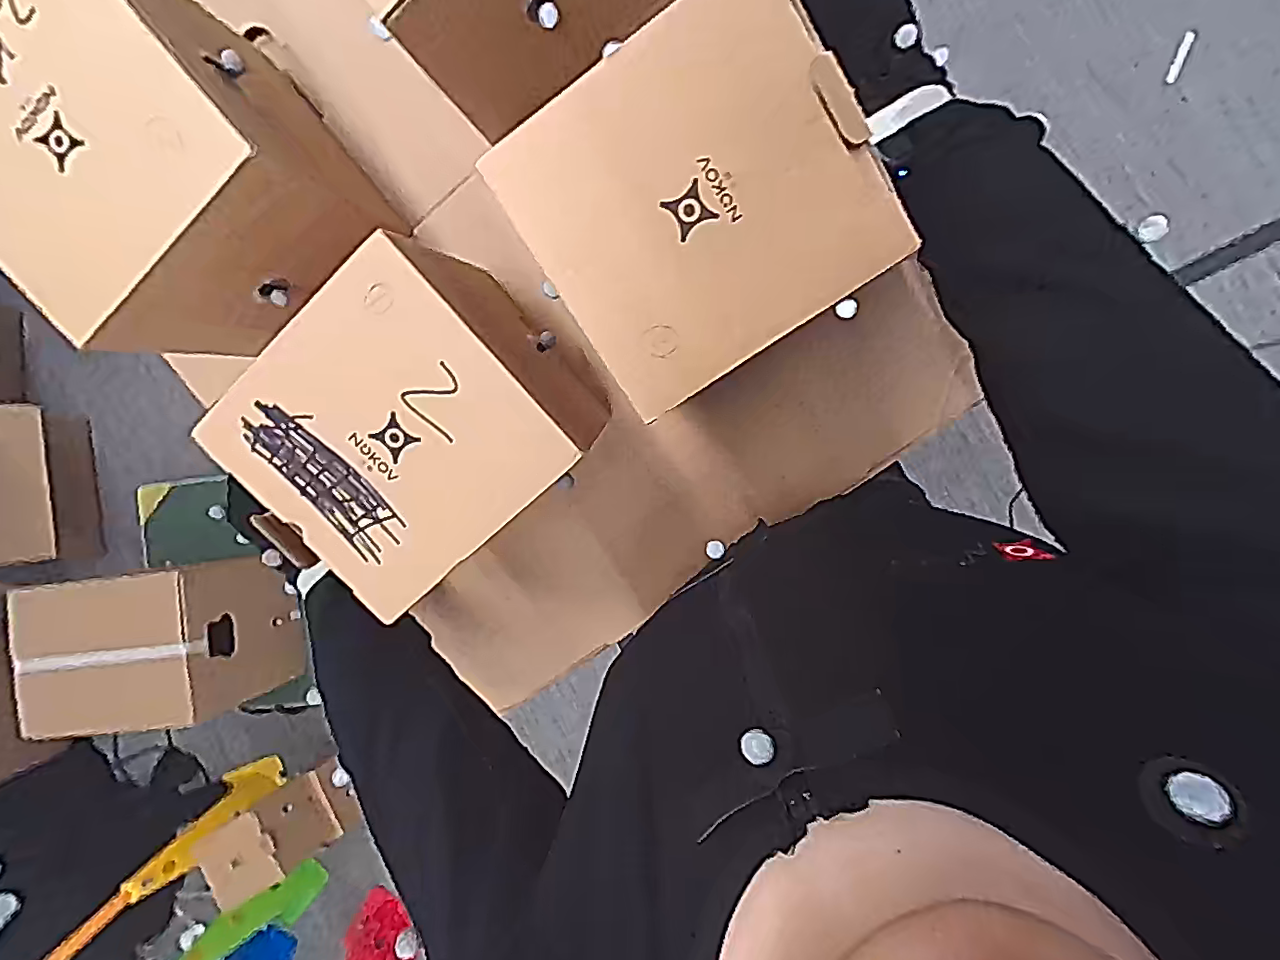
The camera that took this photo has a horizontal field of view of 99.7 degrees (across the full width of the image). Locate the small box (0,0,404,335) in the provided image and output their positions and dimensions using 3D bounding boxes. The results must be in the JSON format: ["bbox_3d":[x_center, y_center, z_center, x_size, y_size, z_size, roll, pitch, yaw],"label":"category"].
[{"bbox_3d":[-0.309,-0.219,0.379,0.168,0.176,0.179,-36,95,11],"label":"small box"}]

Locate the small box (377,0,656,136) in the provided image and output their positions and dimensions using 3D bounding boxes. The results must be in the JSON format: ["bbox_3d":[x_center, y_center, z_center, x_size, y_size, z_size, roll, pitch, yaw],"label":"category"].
[{"bbox_3d":[-0.093,-0.362,0.326,0.179,0.176,0.168,-34,96,12],"label":"small box"}]
